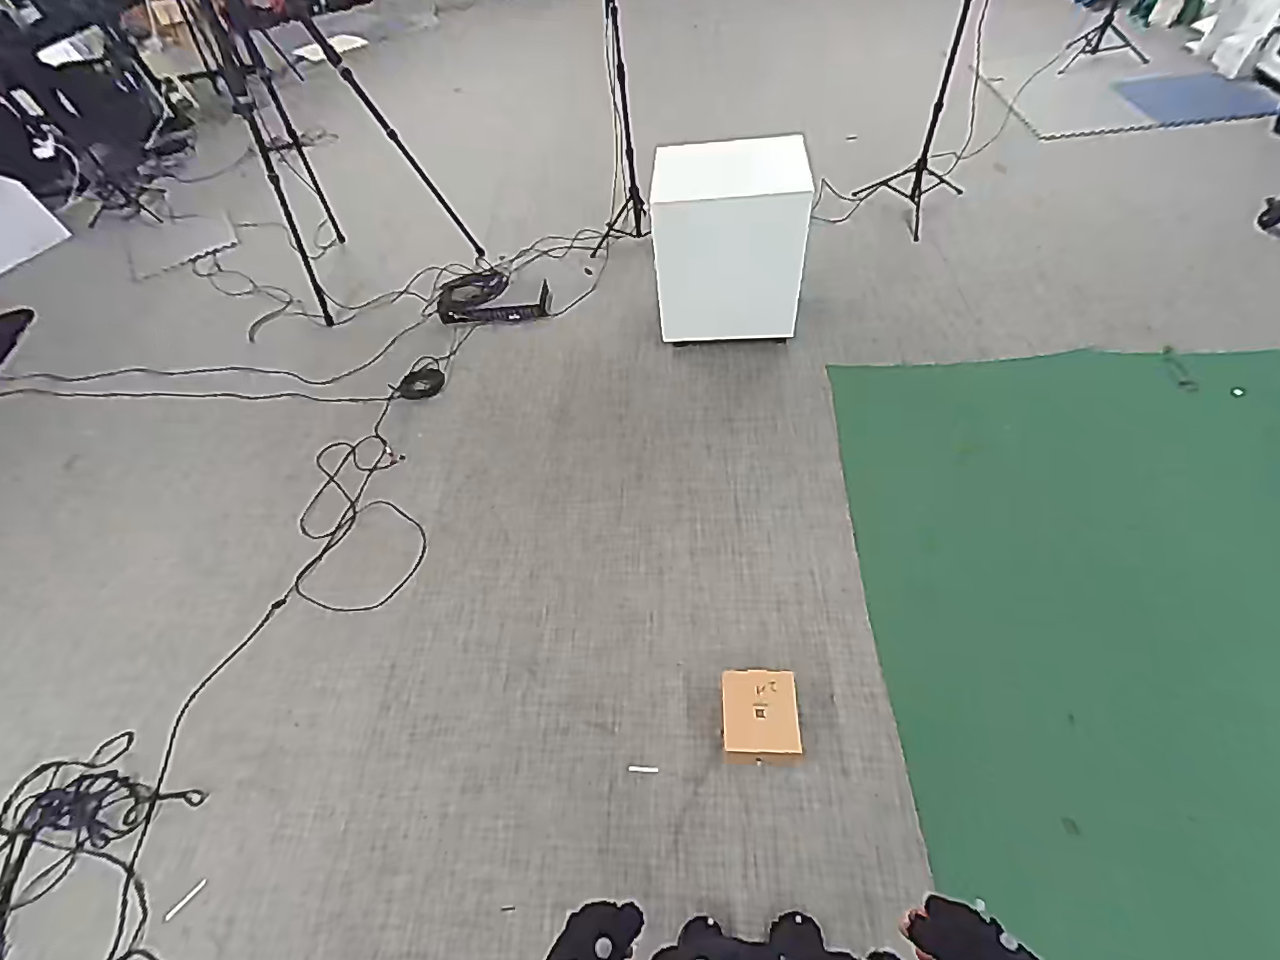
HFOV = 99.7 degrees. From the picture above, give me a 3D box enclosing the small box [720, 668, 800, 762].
[{"bbox_3d":[0.274,0.554,1.269,0.168,0.176,0.179,-1,54,6],"label":"small box"}]
